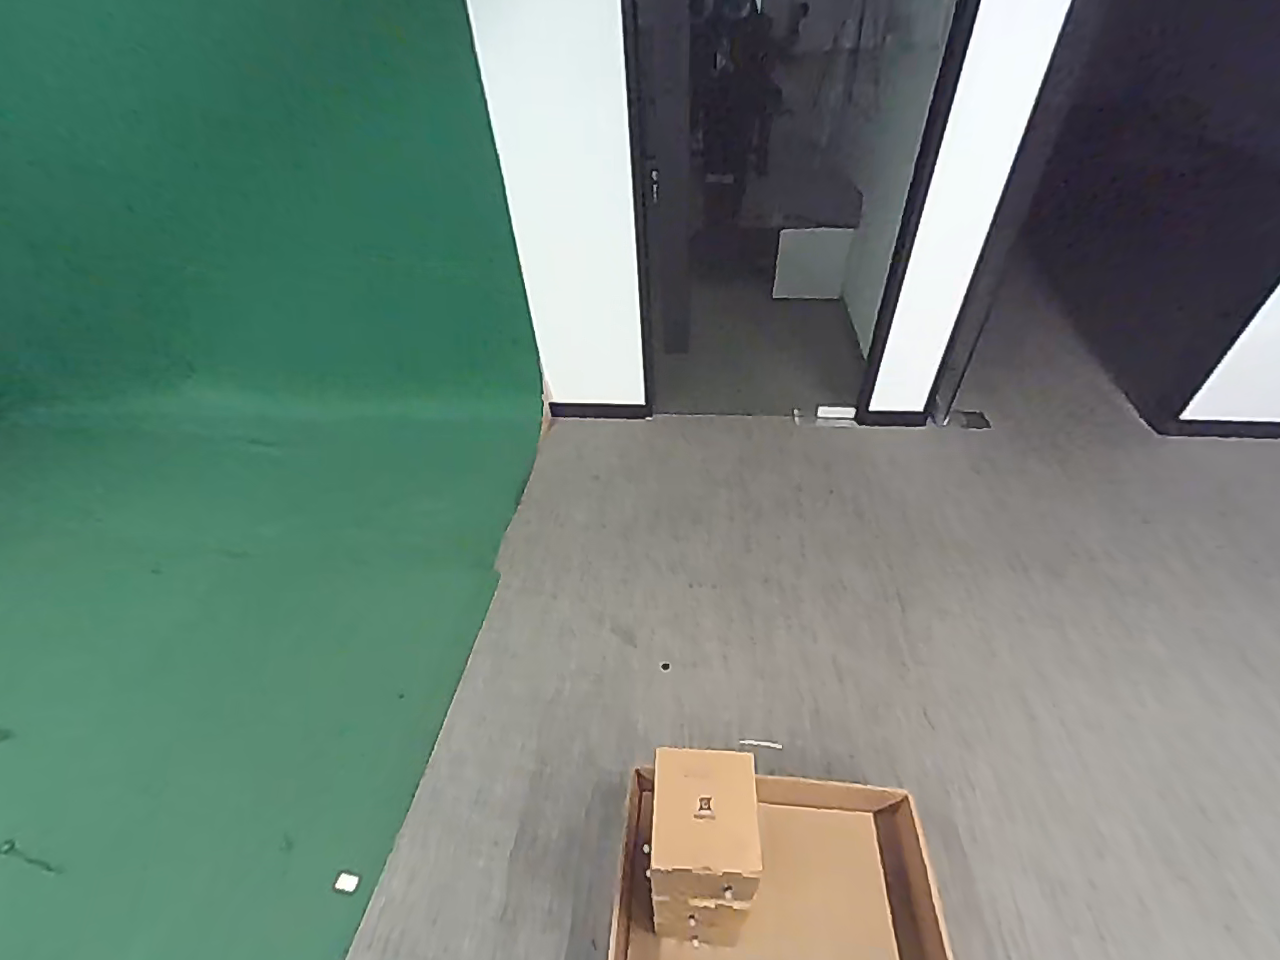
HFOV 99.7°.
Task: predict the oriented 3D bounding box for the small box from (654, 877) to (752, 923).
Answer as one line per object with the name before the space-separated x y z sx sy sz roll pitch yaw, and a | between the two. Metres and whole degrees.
small box | 0.115 0.689 1.006 0.168 0.176 0.179 3 43 6

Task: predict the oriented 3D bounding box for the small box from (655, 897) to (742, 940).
small box | 0.121 0.811 1.114 0.168 0.176 0.179 3 43 7

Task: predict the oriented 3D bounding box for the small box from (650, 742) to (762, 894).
small box | 0.106 0.565 0.901 0.168 0.176 0.179 2 42 4
